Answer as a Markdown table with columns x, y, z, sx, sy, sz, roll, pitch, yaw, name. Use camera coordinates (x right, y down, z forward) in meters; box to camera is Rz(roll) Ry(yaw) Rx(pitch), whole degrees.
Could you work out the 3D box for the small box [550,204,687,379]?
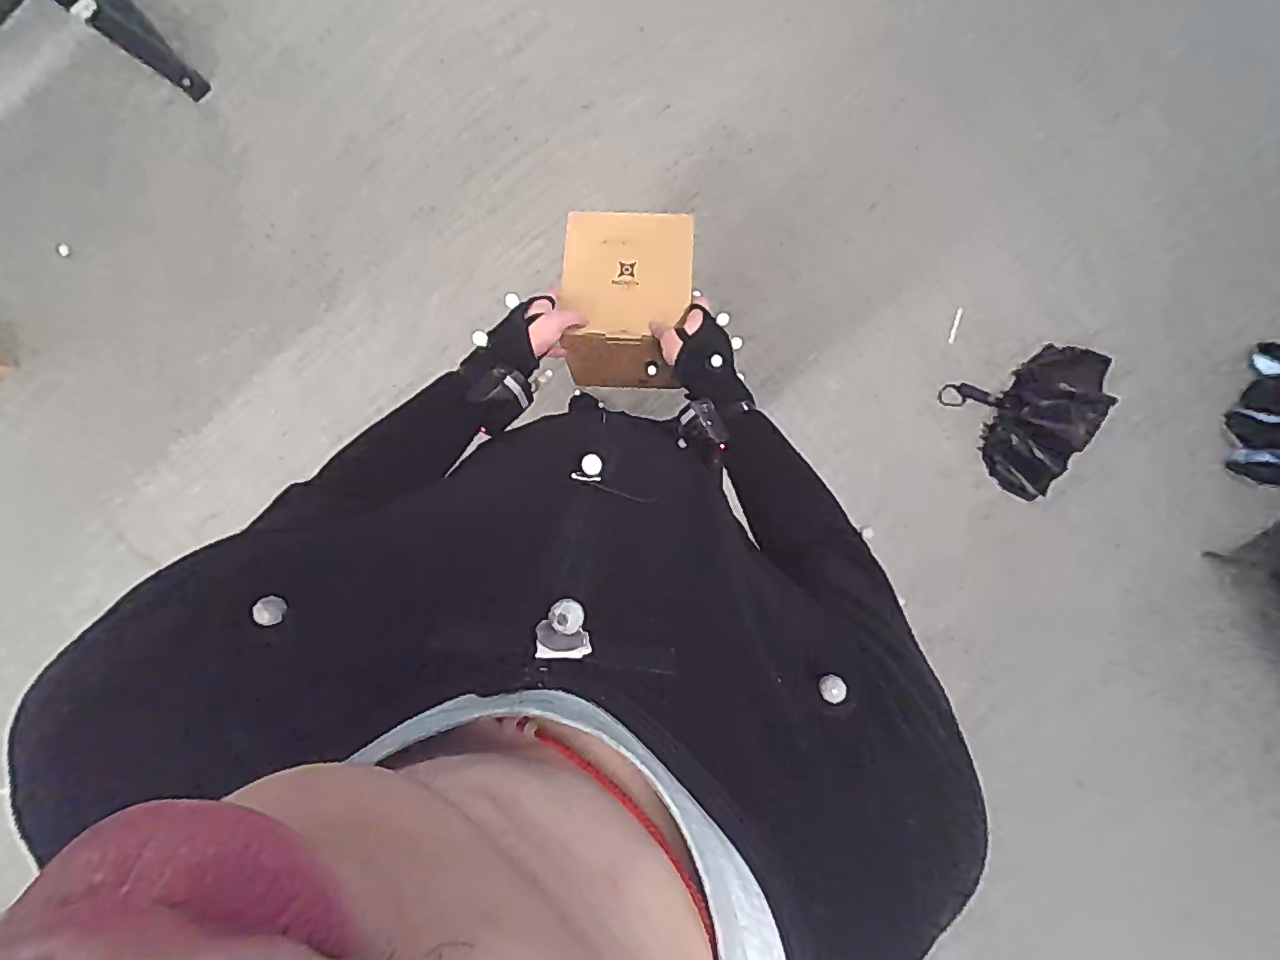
| x | y | z | sx | sy | sz | roll | pitch | yaw | name |
| --- | --- | --- | --- | --- | --- | --- | --- | --- | --- |
| -0.022 | -0.251 | 0.751 | 0.168 | 0.176 | 0.179 | 2 | 77 | 2 | small box |
